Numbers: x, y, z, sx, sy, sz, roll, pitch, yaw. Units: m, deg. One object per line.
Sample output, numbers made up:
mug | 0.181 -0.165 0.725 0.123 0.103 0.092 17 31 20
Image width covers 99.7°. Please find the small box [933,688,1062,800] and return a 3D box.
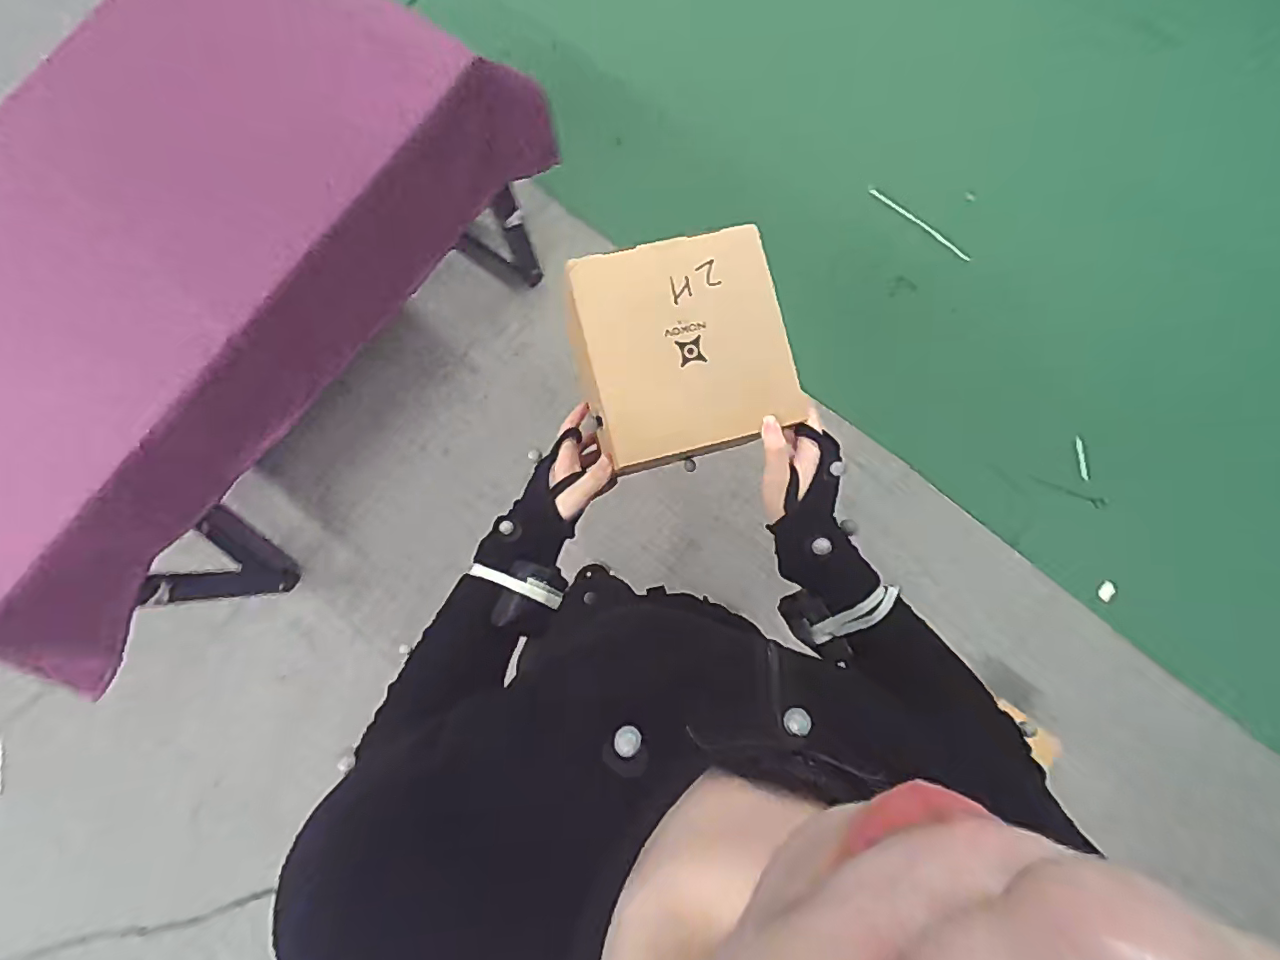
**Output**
small box | 0.889 0.651 1.364 0.179 0.176 0.168 38 84 5
